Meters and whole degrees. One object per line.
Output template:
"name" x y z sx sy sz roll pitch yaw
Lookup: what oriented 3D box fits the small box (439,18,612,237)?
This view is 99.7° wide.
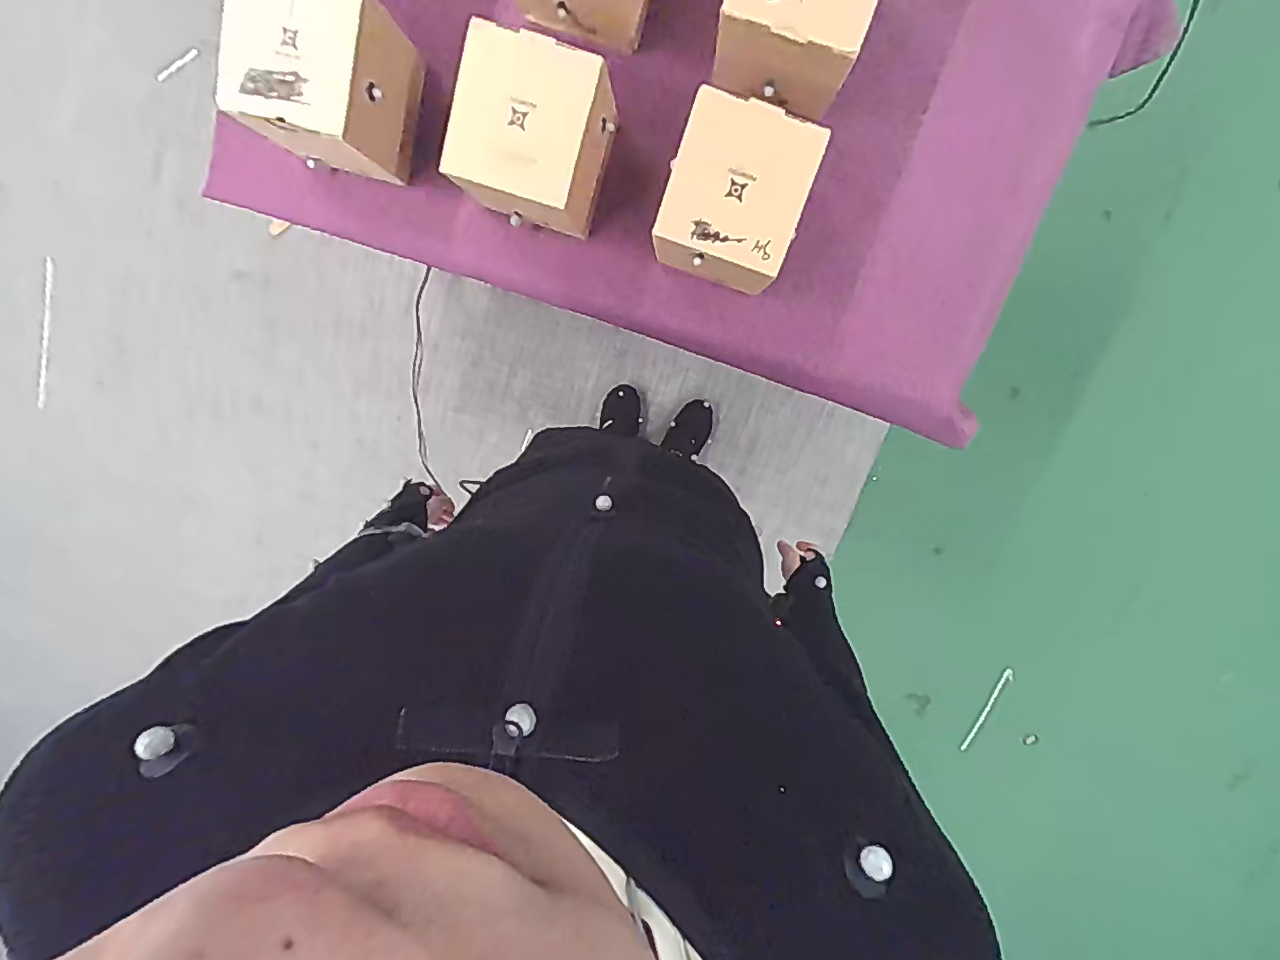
"small box" -0.142 -0.458 0.733 0.168 0.176 0.179 18 104 1

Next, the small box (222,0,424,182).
"small box" -0.417 -0.537 0.735 0.168 0.176 0.179 15 101 1

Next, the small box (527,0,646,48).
"small box" -0.068 -0.700 0.675 0.168 0.176 0.179 18 104 1

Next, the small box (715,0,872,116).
"small box" 0.197 -0.603 0.671 0.168 0.176 0.179 19 104 1

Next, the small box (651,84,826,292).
"small box" 0.121 -0.373 0.728 0.168 0.176 0.179 20 102 1
